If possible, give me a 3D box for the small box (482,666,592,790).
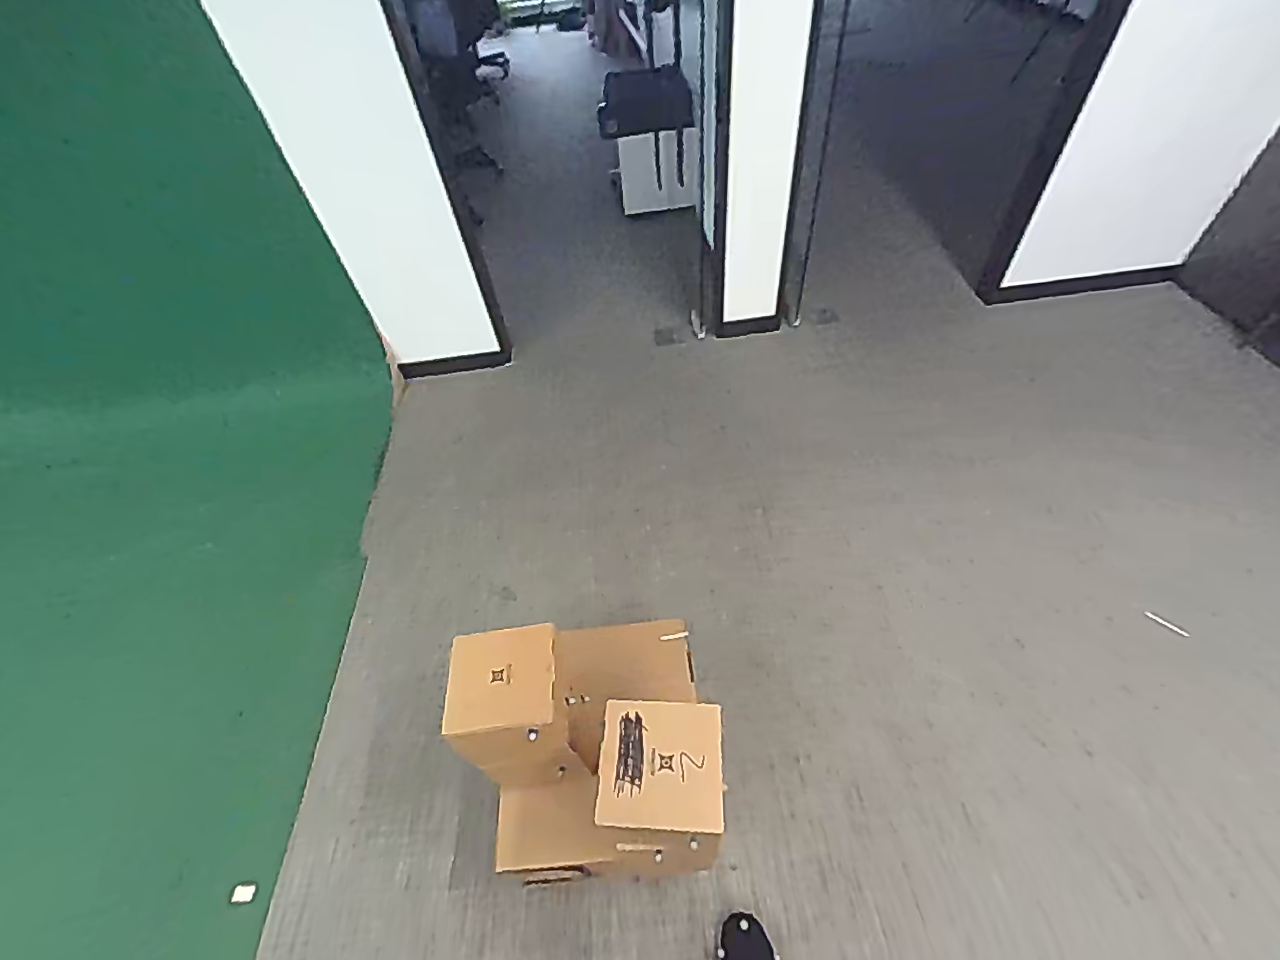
[{"bbox_3d":[-0.191,0.485,1.051,0.179,0.176,0.168,-9,47,0],"label":"small box"}]

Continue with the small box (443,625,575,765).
[{"bbox_3d":[-0.214,0.375,0.933,0.179,0.176,0.168,-8,47,0],"label":"small box"}]

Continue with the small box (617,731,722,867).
[{"bbox_3d":[0.051,0.561,0.951,0.168,0.176,0.179,-4,48,3],"label":"small box"}]
